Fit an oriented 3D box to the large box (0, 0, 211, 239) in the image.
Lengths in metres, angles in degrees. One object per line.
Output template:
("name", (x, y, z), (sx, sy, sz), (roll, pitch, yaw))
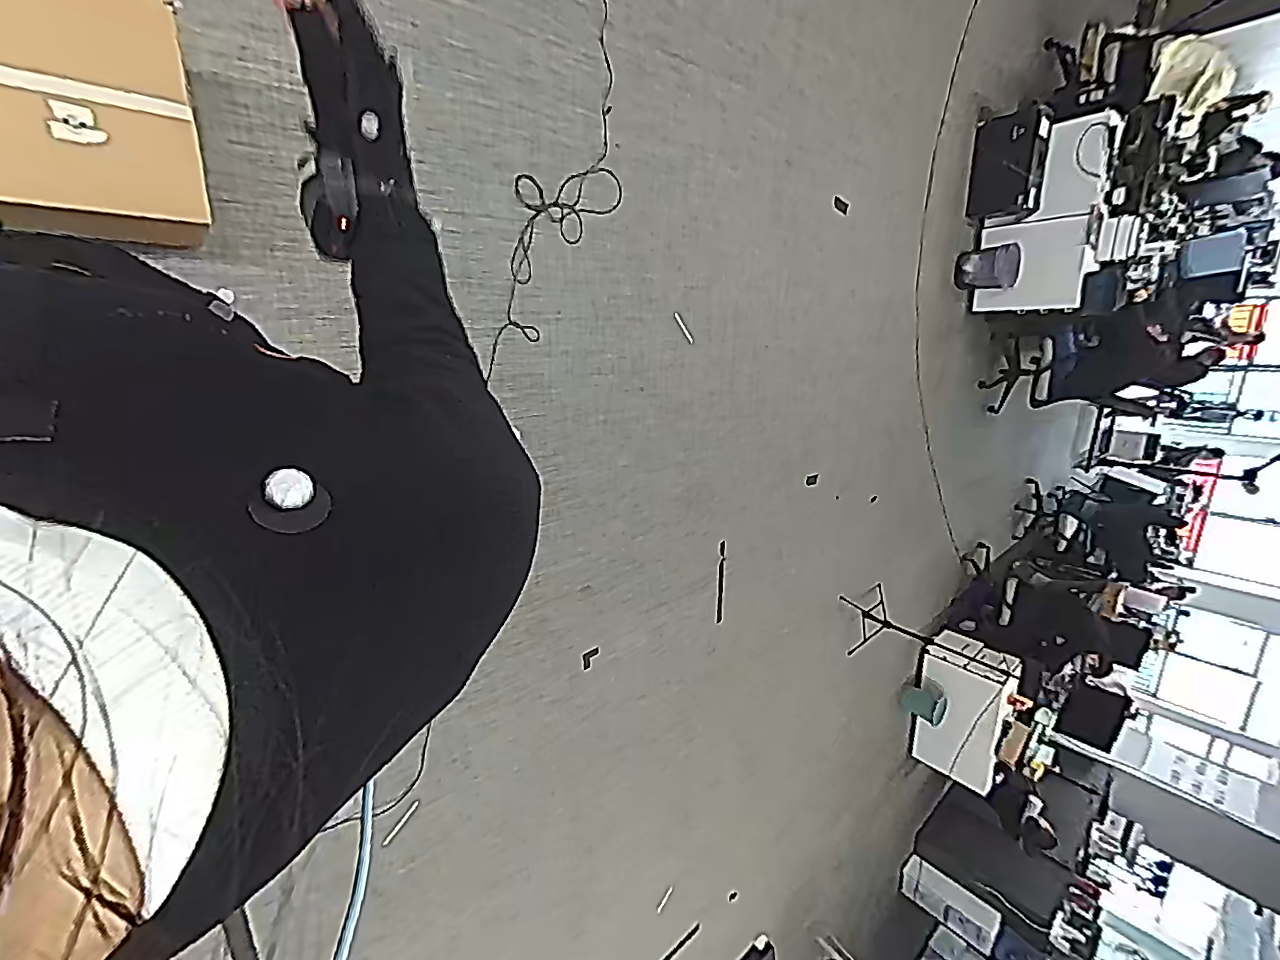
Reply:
("large box", (-0.944, -0.569, 0.819), (0.408, 0.320, 0.320), (-12, 110, -40))
